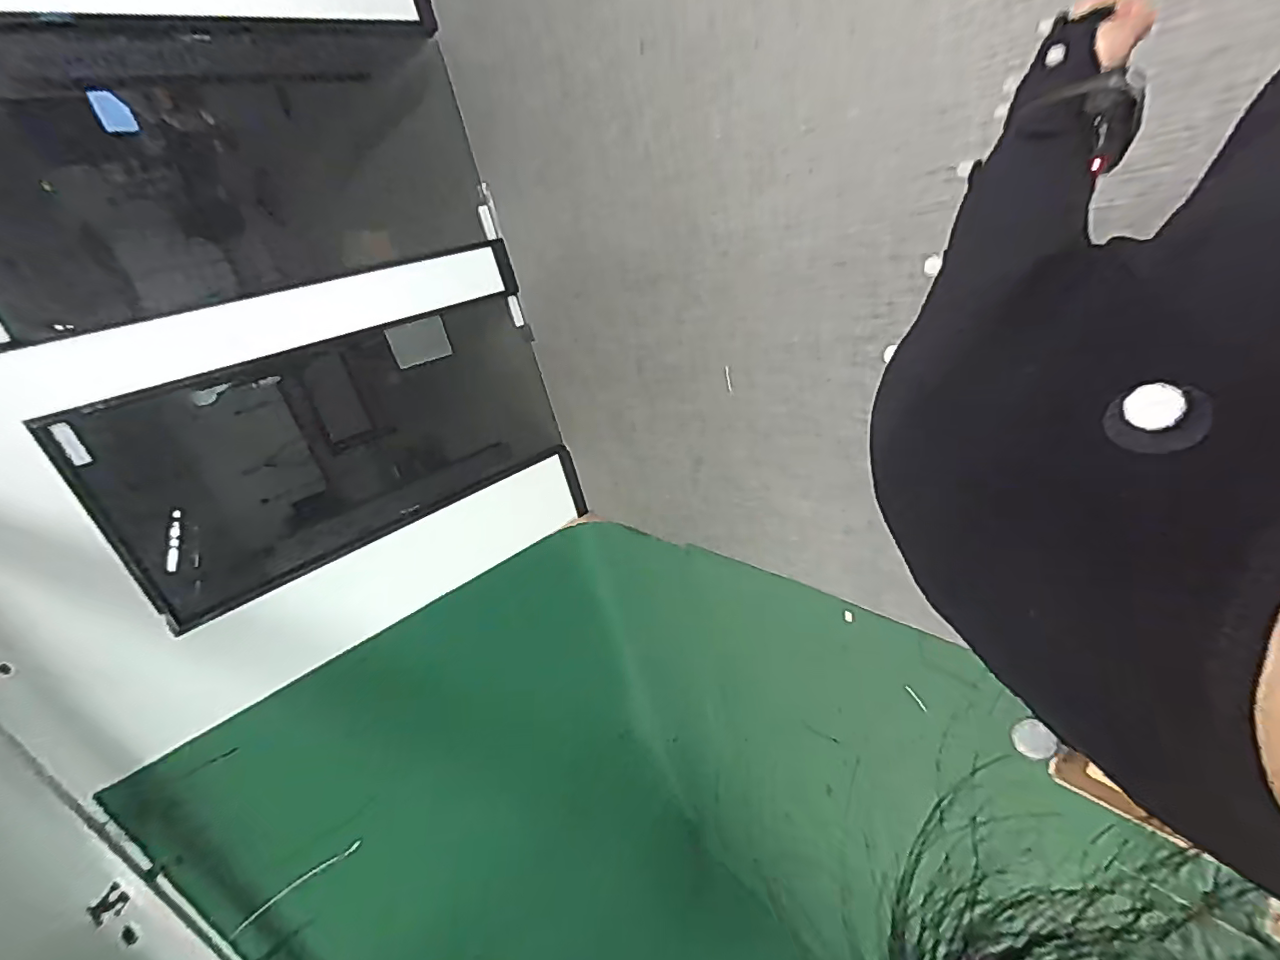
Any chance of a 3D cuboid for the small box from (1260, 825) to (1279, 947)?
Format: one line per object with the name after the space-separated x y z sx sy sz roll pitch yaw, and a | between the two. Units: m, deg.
1.322 0.807 1.022 0.179 0.176 0.168 7 118 55 | small box
